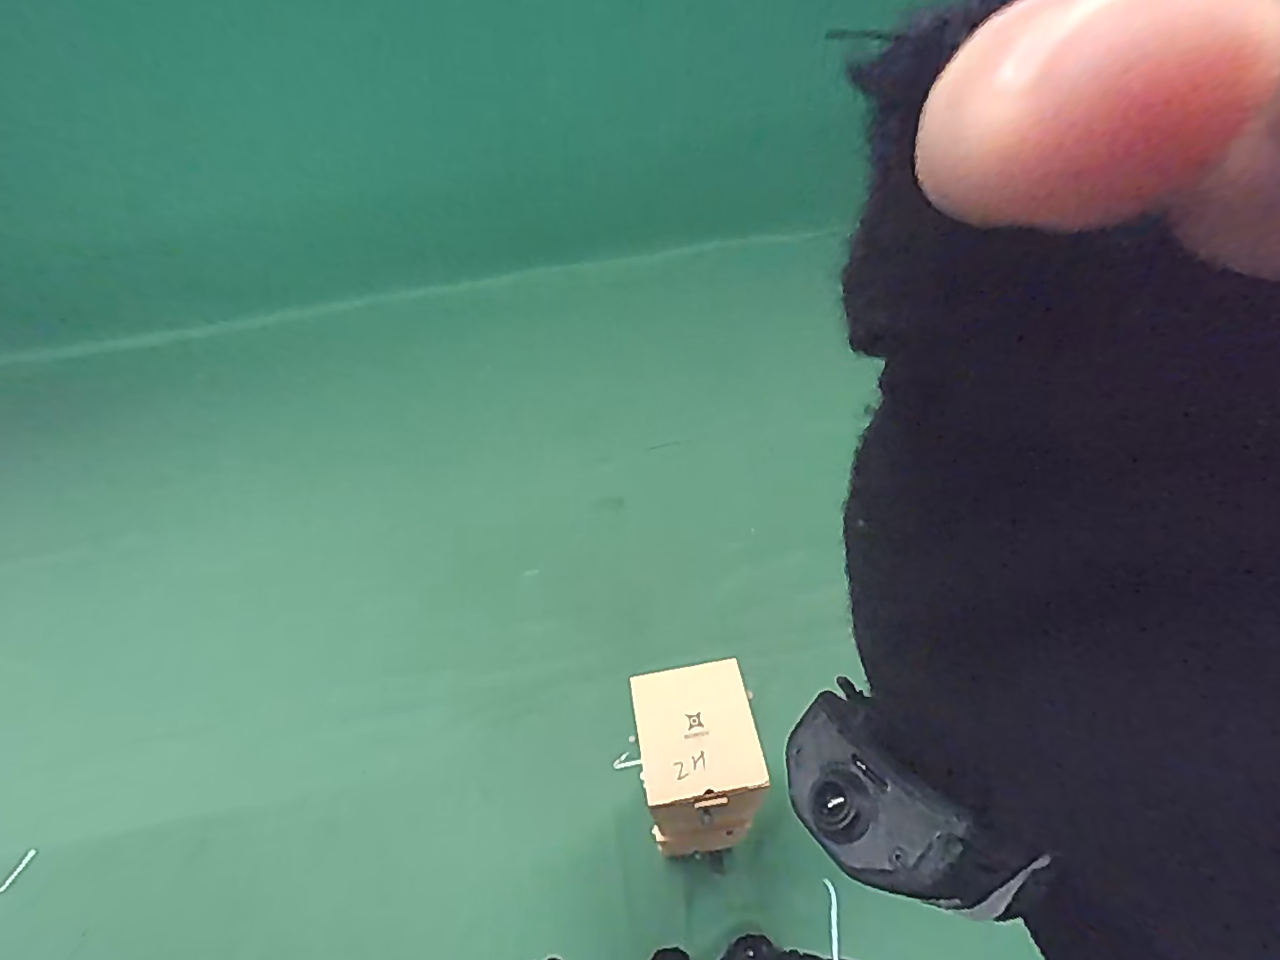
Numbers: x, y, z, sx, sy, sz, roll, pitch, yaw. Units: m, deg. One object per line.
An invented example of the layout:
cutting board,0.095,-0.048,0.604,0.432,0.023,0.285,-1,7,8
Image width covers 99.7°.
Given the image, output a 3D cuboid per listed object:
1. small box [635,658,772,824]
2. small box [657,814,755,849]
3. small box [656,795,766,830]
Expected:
small box,0.089,0.398,0.822,0.168,0.176,0.179,-10,50,-1
small box,0.119,0.613,1.069,0.179,0.176,0.168,-10,50,-2
small box,0.108,0.498,0.948,0.179,0.176,0.168,-8,48,-1
